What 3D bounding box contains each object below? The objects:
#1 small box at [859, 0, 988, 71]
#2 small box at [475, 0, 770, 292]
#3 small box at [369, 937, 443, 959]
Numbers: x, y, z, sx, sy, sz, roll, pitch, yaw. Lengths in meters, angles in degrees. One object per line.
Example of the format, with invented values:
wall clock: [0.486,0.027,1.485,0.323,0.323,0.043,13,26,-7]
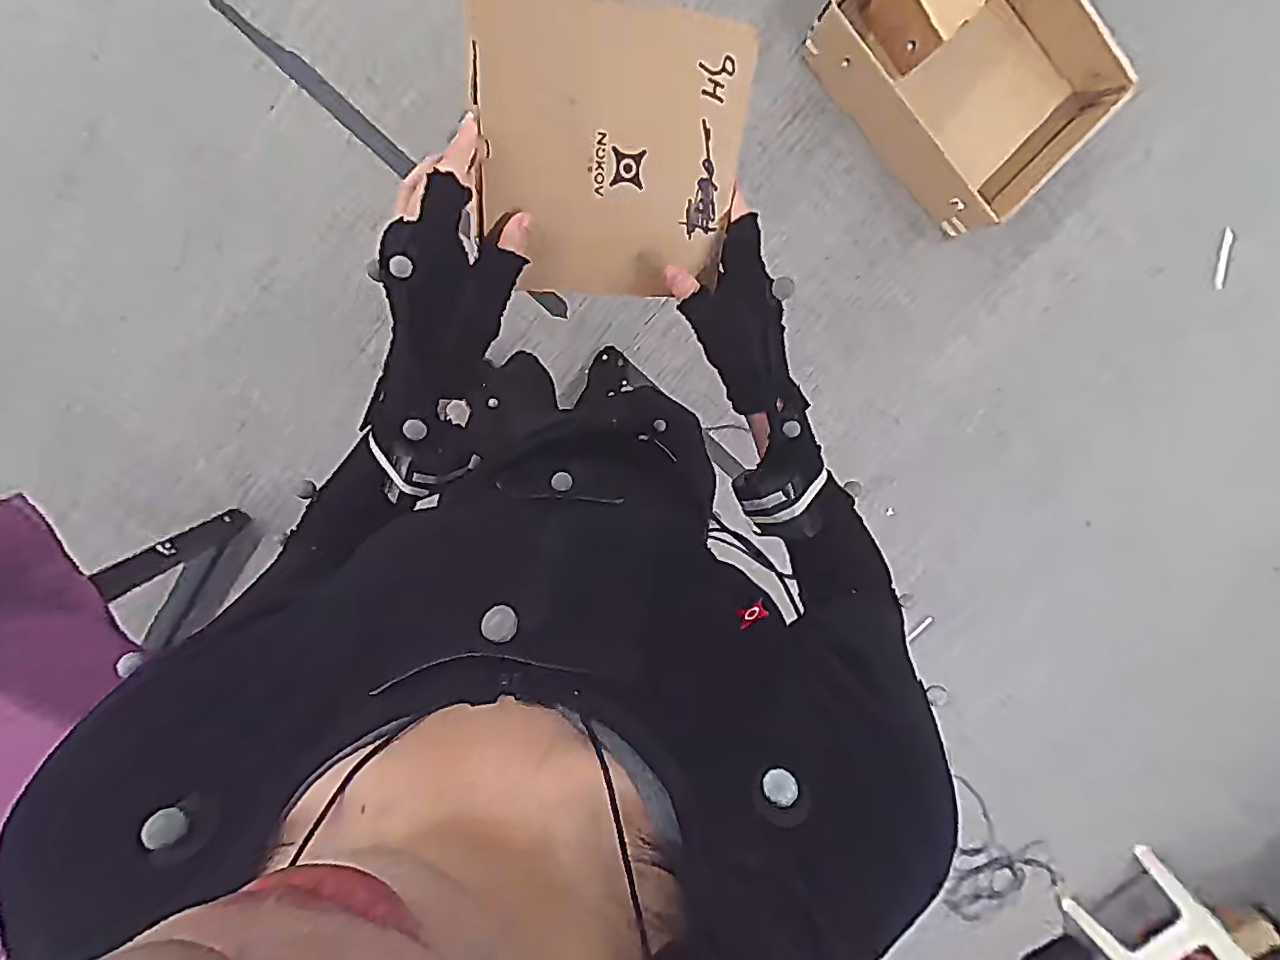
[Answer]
small box: [0.619,-1.037,1.172,0.168,0.176,0.179,-44,103,8]
small box: [-0.032,-0.252,0.414,0.179,0.176,0.168,-3,123,-16]
small box: [-0.427,0.937,0.908,0.168,0.176,0.179,36,99,-11]
